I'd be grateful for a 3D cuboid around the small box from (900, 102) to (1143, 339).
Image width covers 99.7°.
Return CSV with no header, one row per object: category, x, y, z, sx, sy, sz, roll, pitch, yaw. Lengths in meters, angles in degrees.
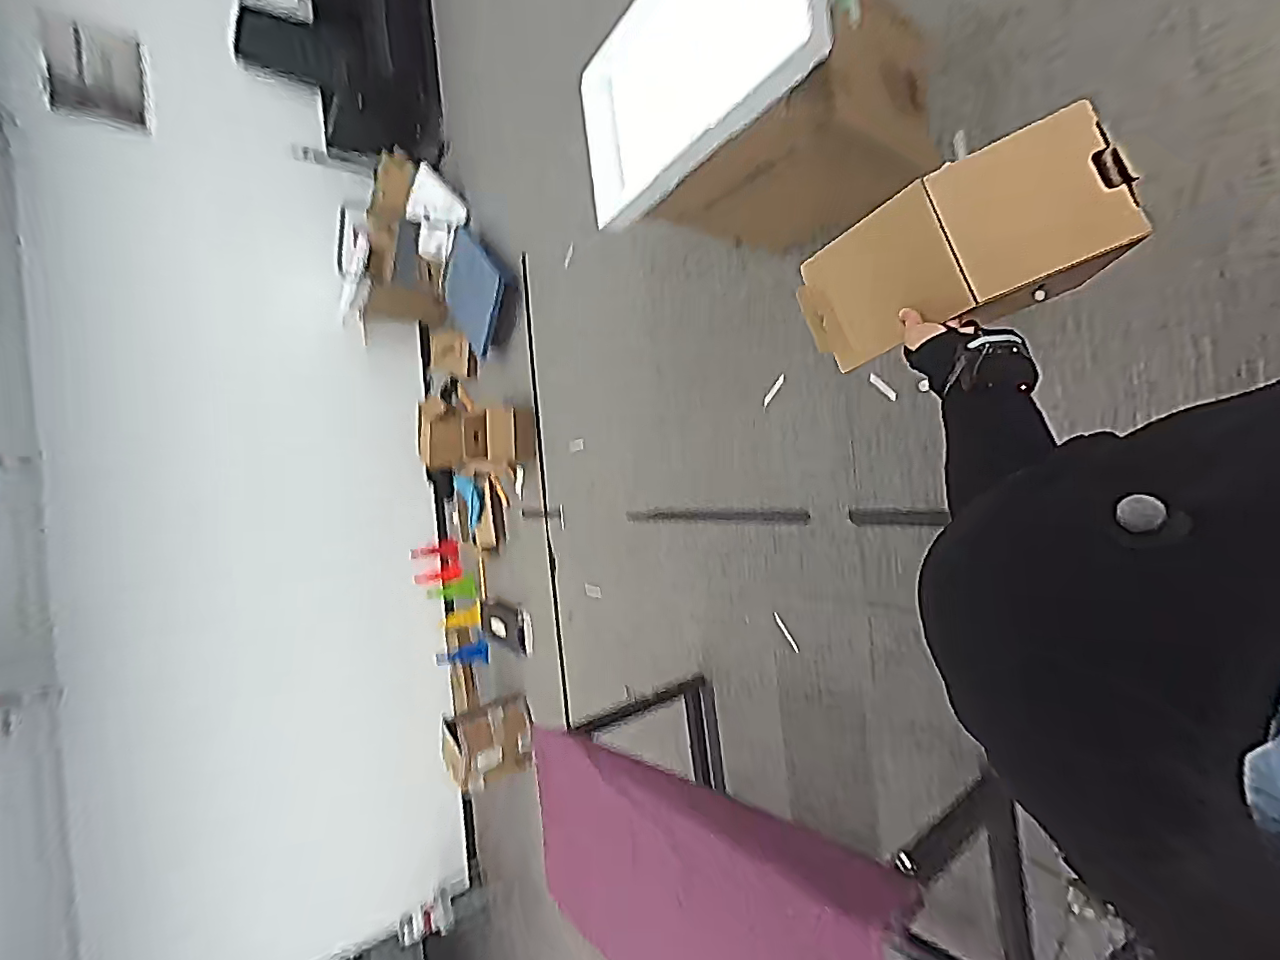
small box,0.439,-0.296,0.664,0.179,0.176,0.168,-22,84,16
